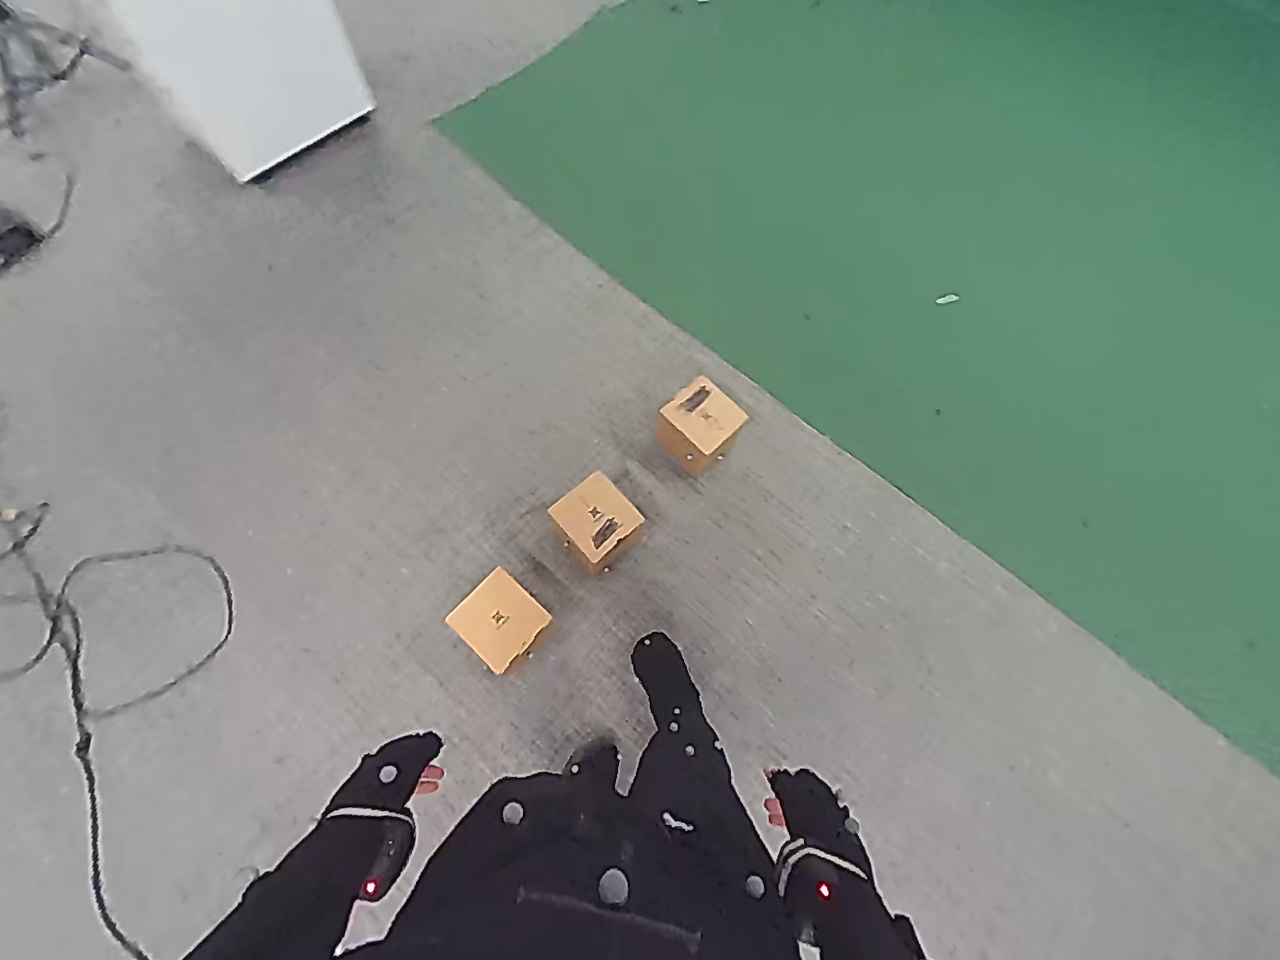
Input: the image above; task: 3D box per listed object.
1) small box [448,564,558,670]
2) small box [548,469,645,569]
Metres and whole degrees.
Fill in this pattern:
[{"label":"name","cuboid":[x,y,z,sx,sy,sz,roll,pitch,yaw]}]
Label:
[{"label":"small box","cuboid":[-0.311,0.326,1.263,0.179,0.176,0.168,41,73,10]},{"label":"small box","cuboid":[-0.106,0.107,1.356,0.168,0.176,0.179,-39,76,-16]}]
